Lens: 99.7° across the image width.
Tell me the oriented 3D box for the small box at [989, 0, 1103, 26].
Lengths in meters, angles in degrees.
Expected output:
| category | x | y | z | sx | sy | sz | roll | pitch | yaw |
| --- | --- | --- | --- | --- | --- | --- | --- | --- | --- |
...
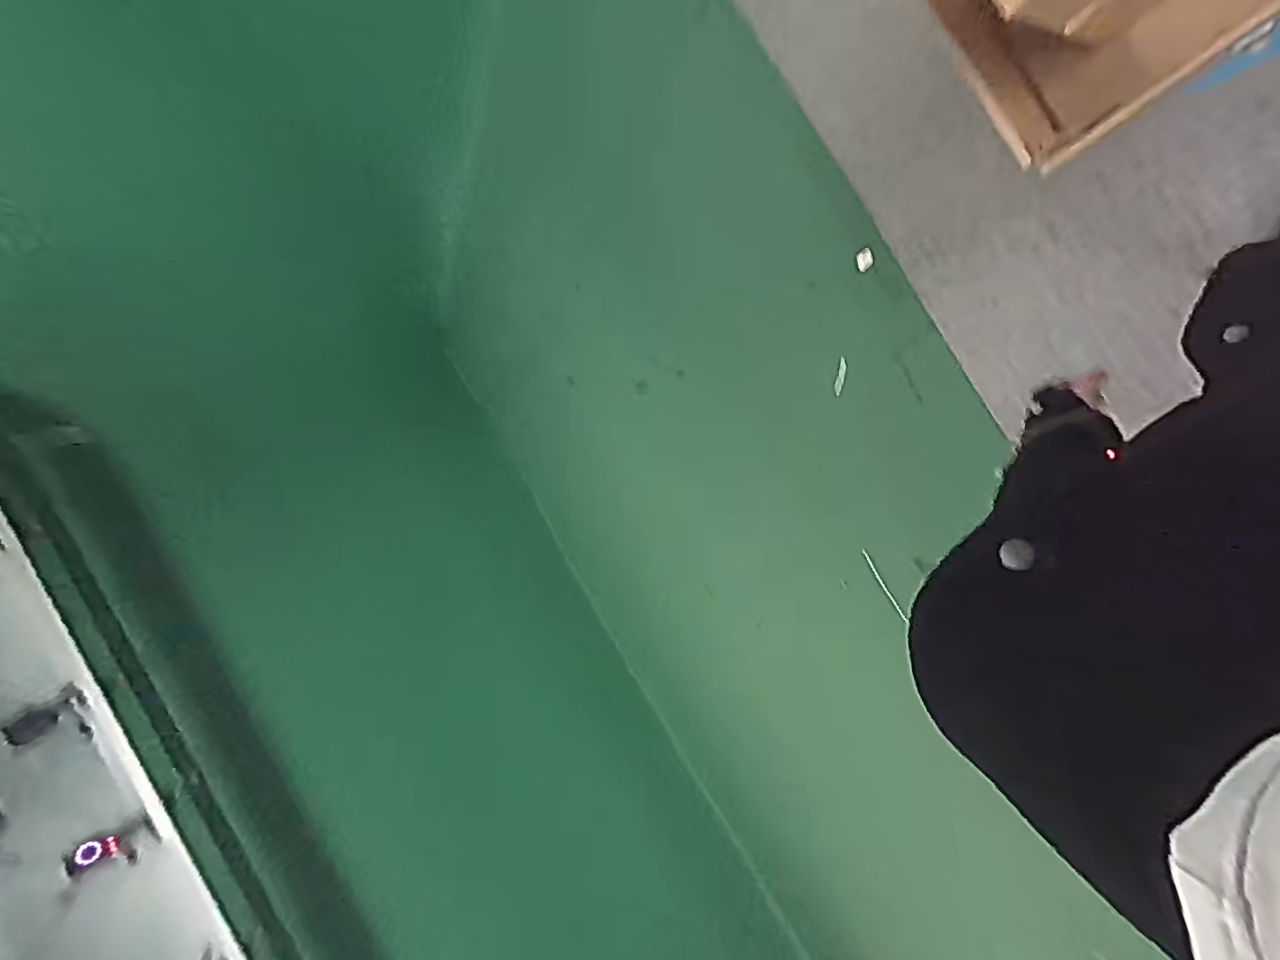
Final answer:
| category | x | y | z | sx | sy | sz | roll | pitch | yaw |
| --- | --- | --- | --- | --- | --- | --- | --- | --- | --- |
| small box | 0.373 | -0.530 | 0.455 | 0.179 | 0.176 | 0.168 | 61 | 146 | 3 |
